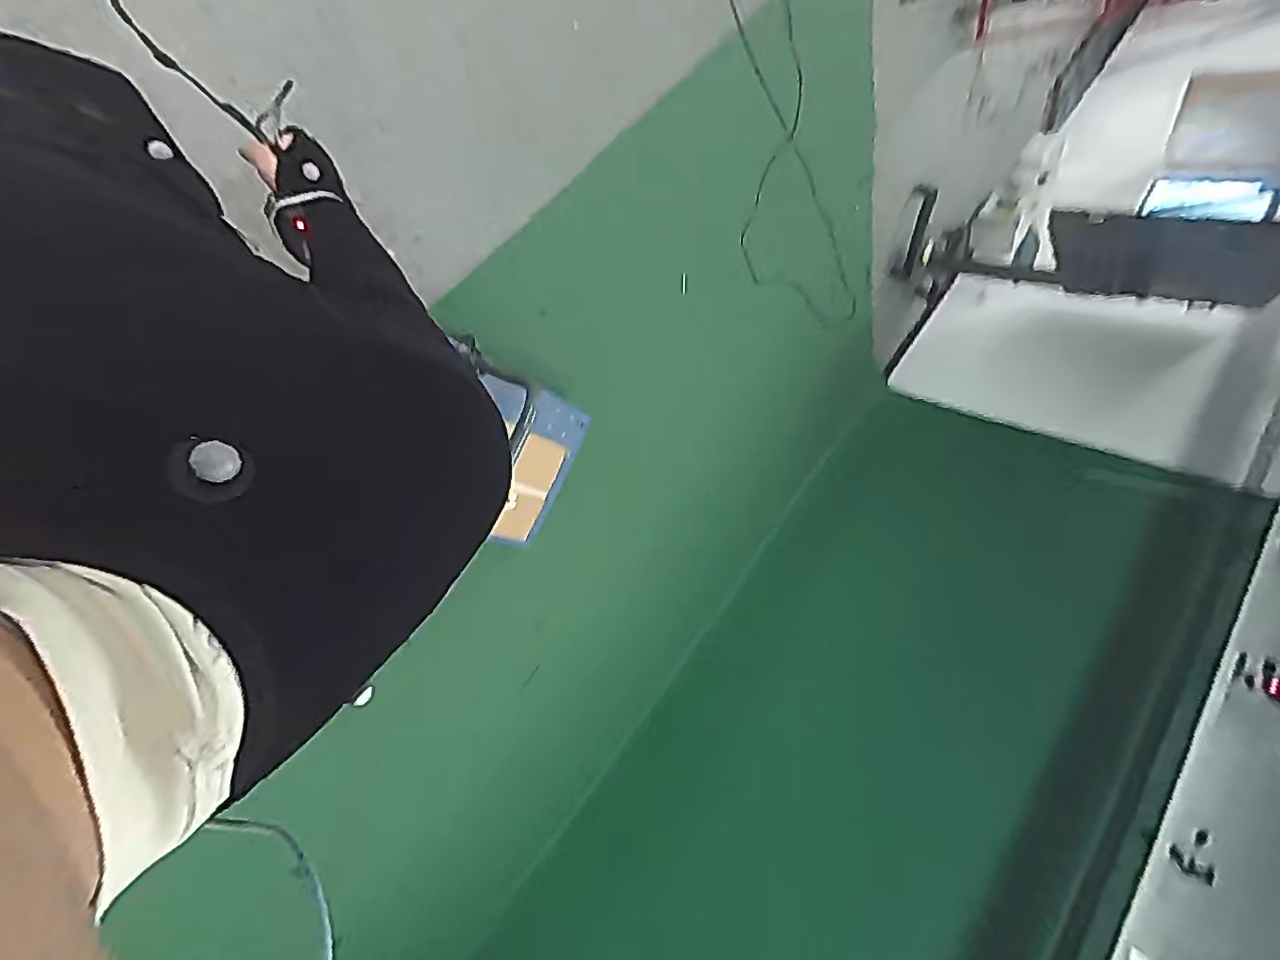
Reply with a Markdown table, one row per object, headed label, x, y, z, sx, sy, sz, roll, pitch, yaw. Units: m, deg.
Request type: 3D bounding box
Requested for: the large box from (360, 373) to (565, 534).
| label | x | y | z | sx | sy | sz | roll | pitch | yaw |
| --- | --- | --- | --- | --- | --- | --- | --- | --- | --- |
| large box | -0.504 | -0.067 | 1.561 | 0.408 | 0.320 | 0.320 | 24 | 93 | -55 |
